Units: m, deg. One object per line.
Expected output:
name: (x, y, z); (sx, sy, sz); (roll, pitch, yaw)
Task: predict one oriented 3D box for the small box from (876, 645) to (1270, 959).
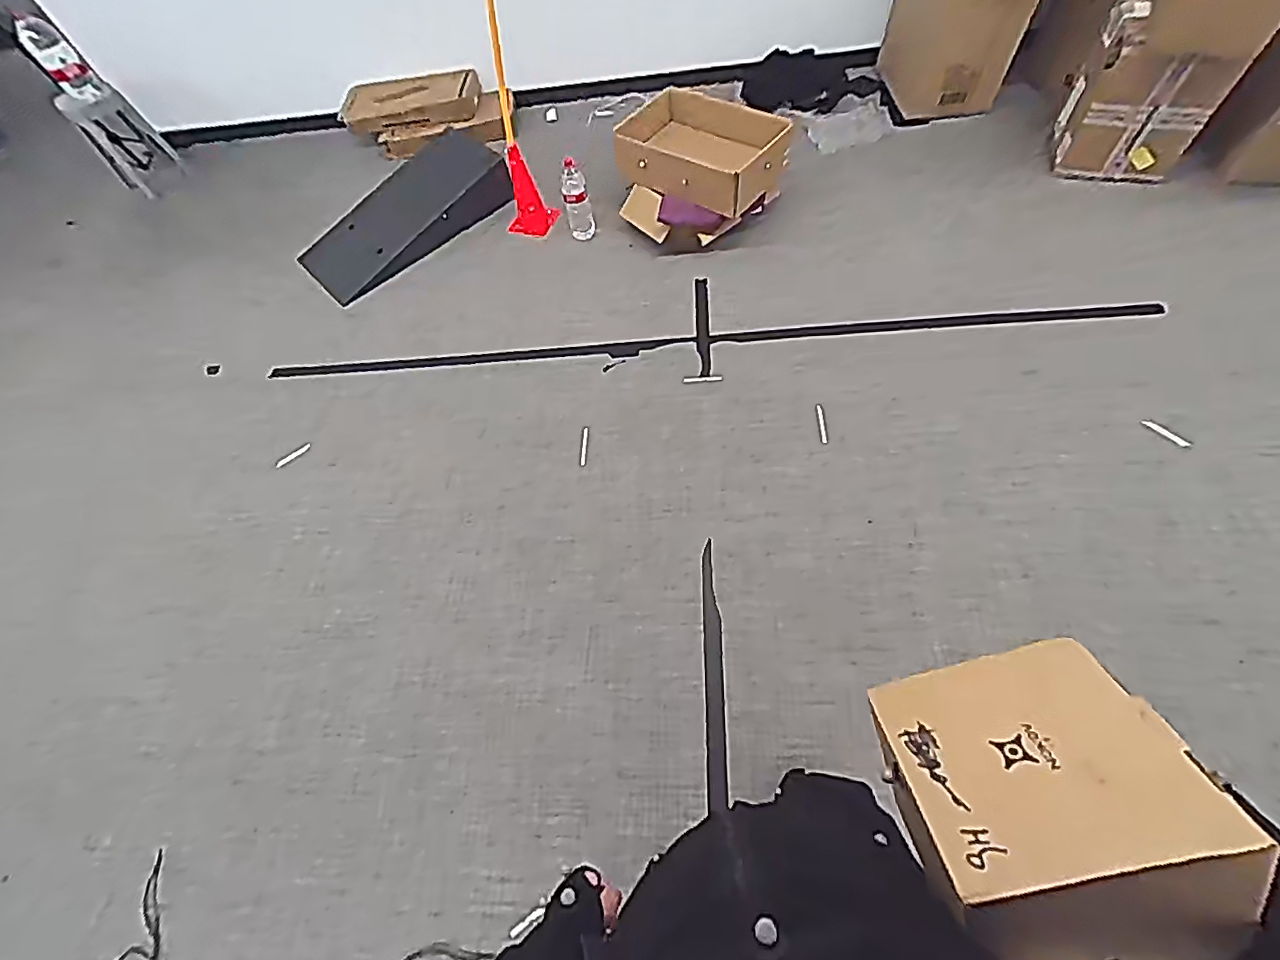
small box: (0.317, 0.269, 0.436); (0.179, 0.176, 0.168); (-19, 26, 10)
